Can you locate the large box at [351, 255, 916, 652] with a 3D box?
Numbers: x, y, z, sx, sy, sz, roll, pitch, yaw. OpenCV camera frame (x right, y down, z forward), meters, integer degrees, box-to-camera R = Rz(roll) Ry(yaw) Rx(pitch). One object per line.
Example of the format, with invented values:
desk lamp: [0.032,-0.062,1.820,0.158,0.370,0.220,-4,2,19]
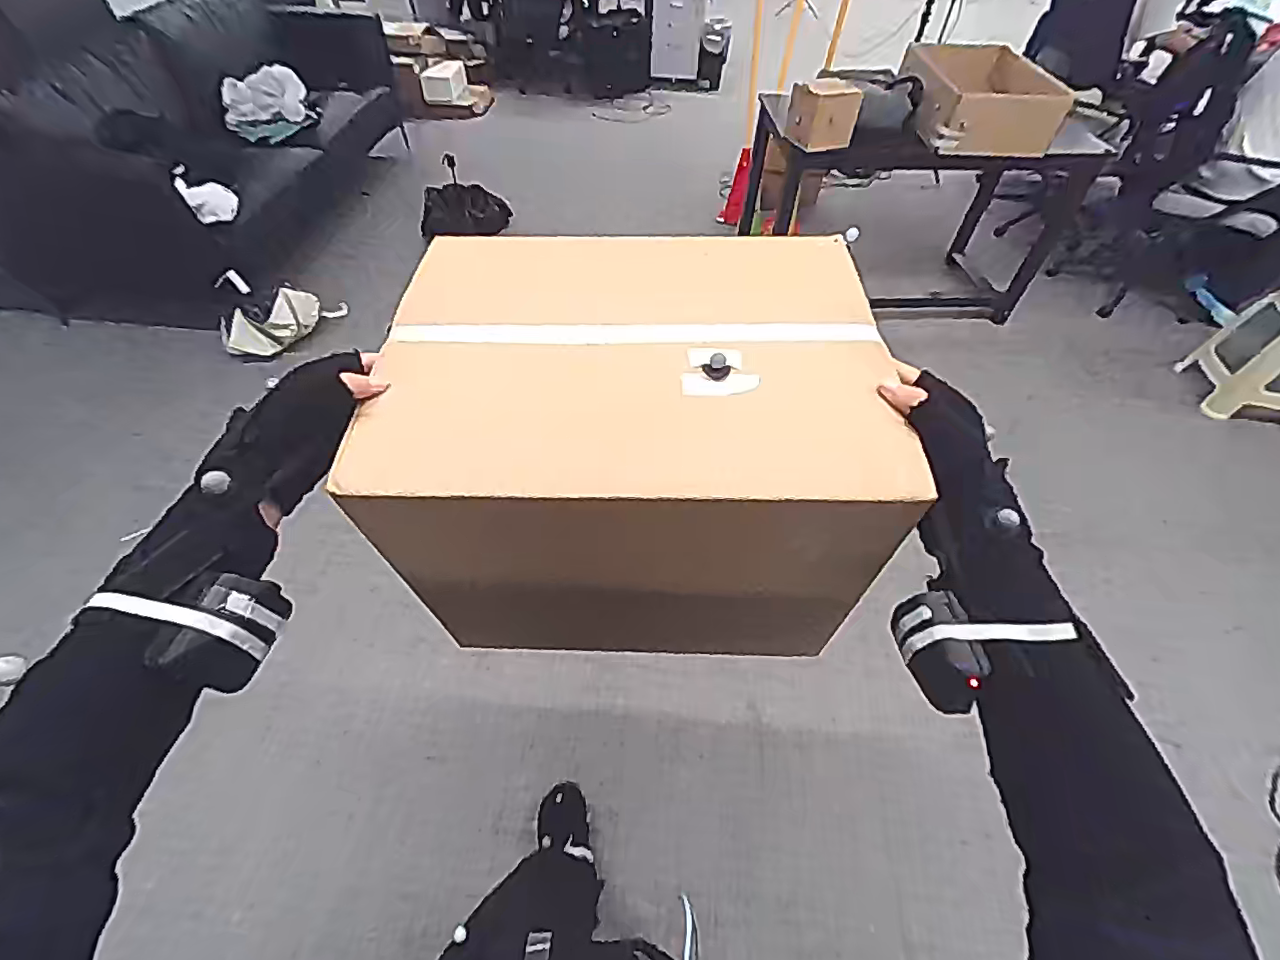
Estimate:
large box: [-0.004,-0.018,0.581,0.408,0.320,0.320,1,54,1]
